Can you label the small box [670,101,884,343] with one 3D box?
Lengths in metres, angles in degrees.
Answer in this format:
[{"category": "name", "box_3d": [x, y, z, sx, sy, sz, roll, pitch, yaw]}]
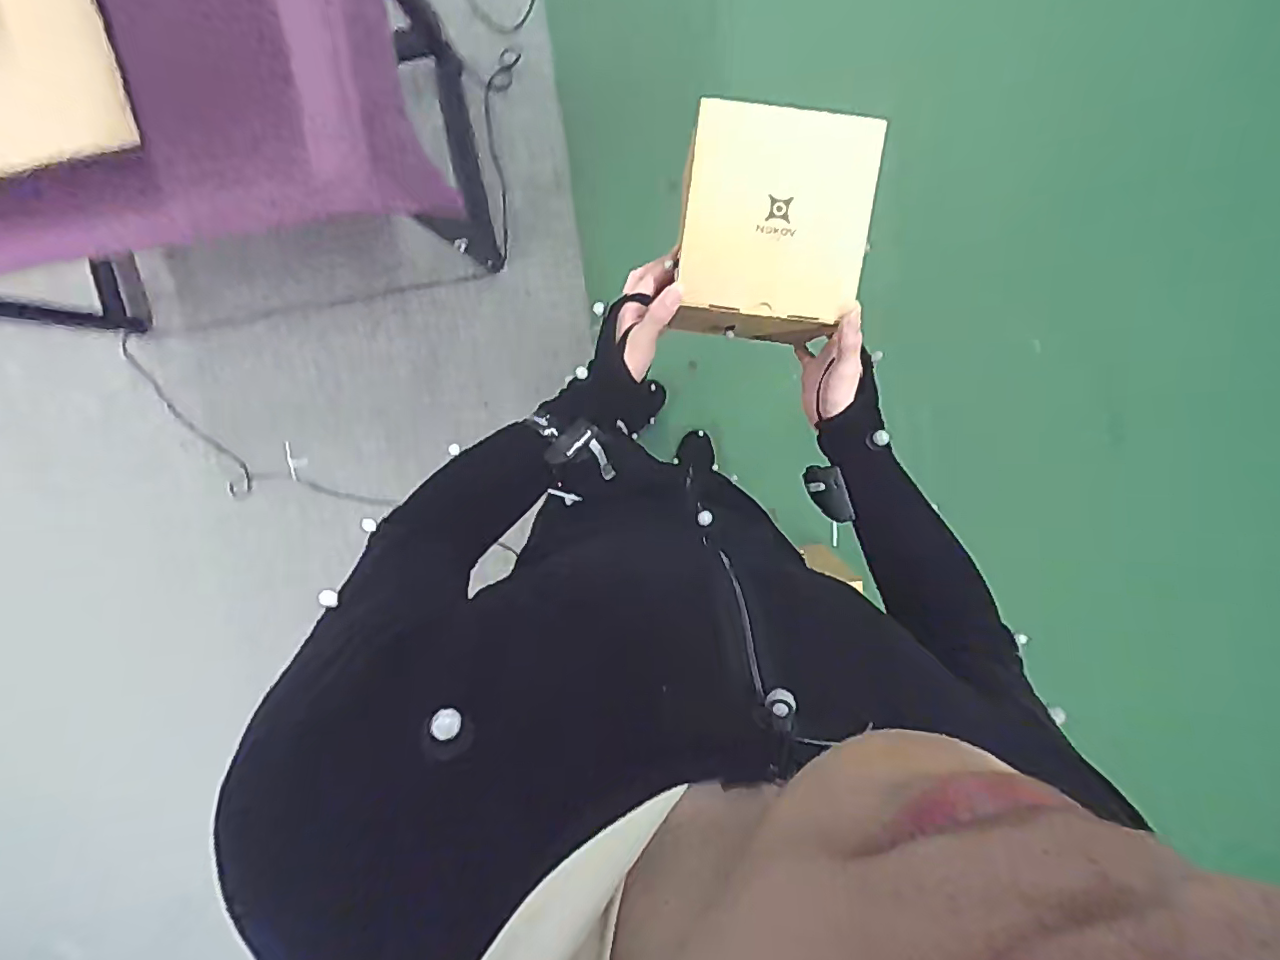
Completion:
[{"category": "small box", "box_3d": [0.123, -0.246, 0.560, 0.168, 0.176, 0.179, 6, 100, -1]}]
